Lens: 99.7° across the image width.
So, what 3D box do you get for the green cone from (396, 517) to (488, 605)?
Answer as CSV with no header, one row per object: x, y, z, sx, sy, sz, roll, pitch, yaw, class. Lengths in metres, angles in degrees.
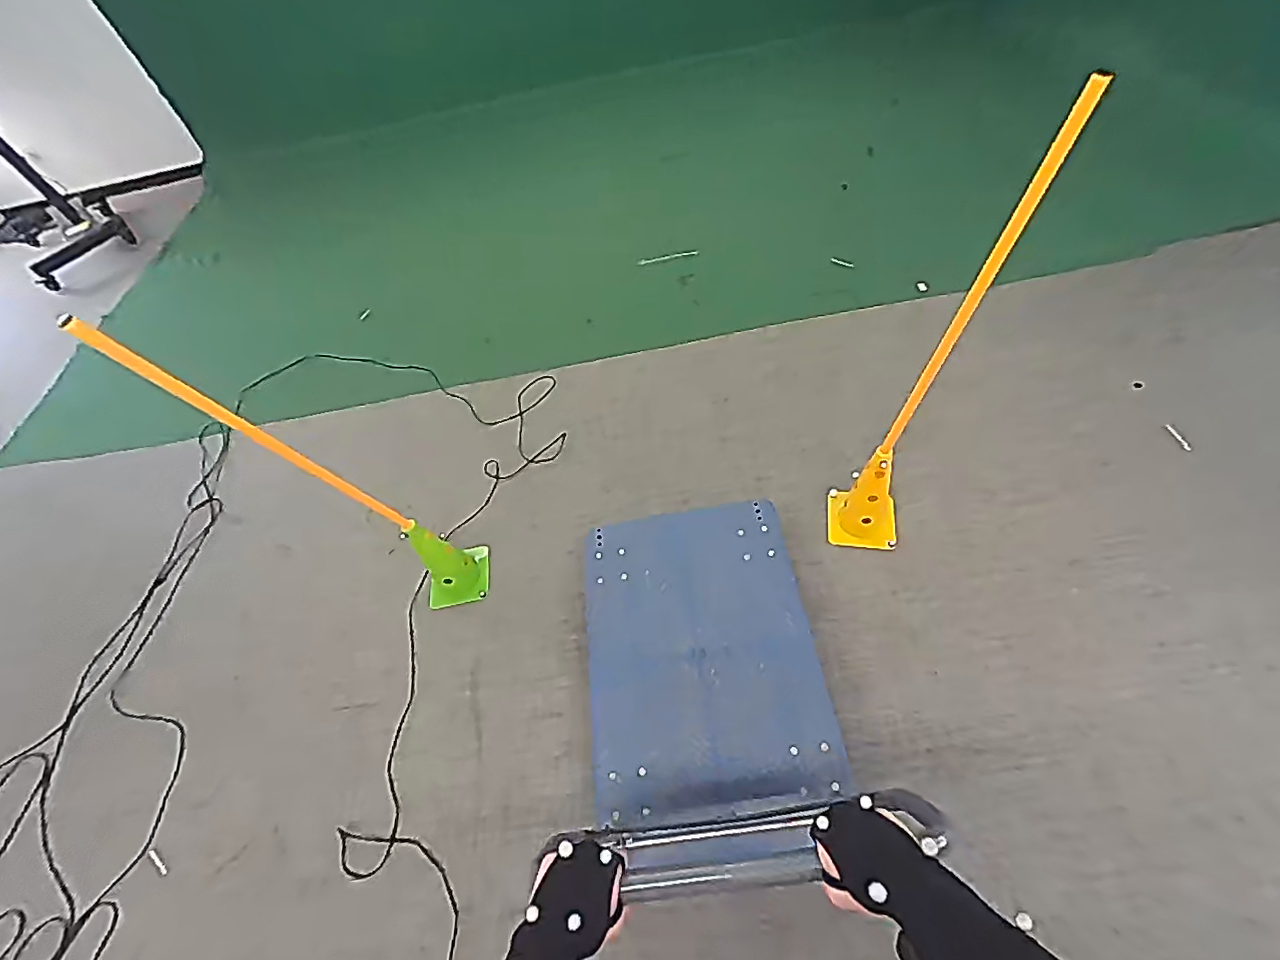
-0.643,0.218,1.692,0.202,0.368,0.200,-14,54,3,green cone
